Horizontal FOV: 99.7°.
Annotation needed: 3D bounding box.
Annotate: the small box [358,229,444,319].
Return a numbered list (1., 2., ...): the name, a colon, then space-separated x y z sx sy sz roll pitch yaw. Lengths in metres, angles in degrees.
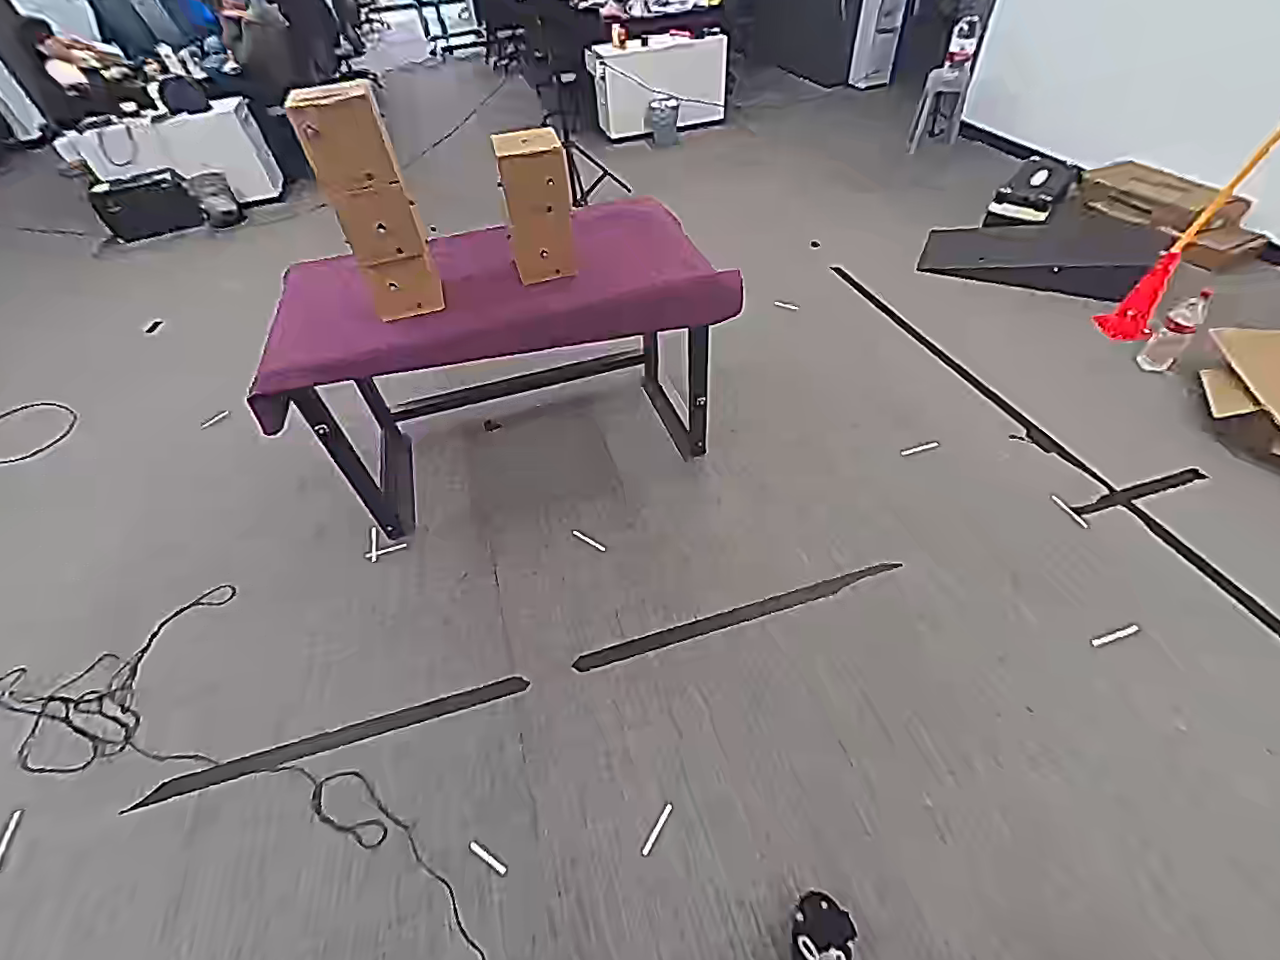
1. small box: -0.644 -0.553 1.468 0.168 0.176 0.179 -16 48 -9

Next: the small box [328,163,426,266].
1. small box: -0.645 -0.648 1.333 0.168 0.176 0.179 -19 50 -12

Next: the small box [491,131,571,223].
1. small box: -0.286 -0.798 1.434 0.168 0.176 0.179 -14 48 -8

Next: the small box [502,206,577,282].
1. small box: -0.285 -0.684 1.551 0.168 0.176 0.179 -15 48 -9
